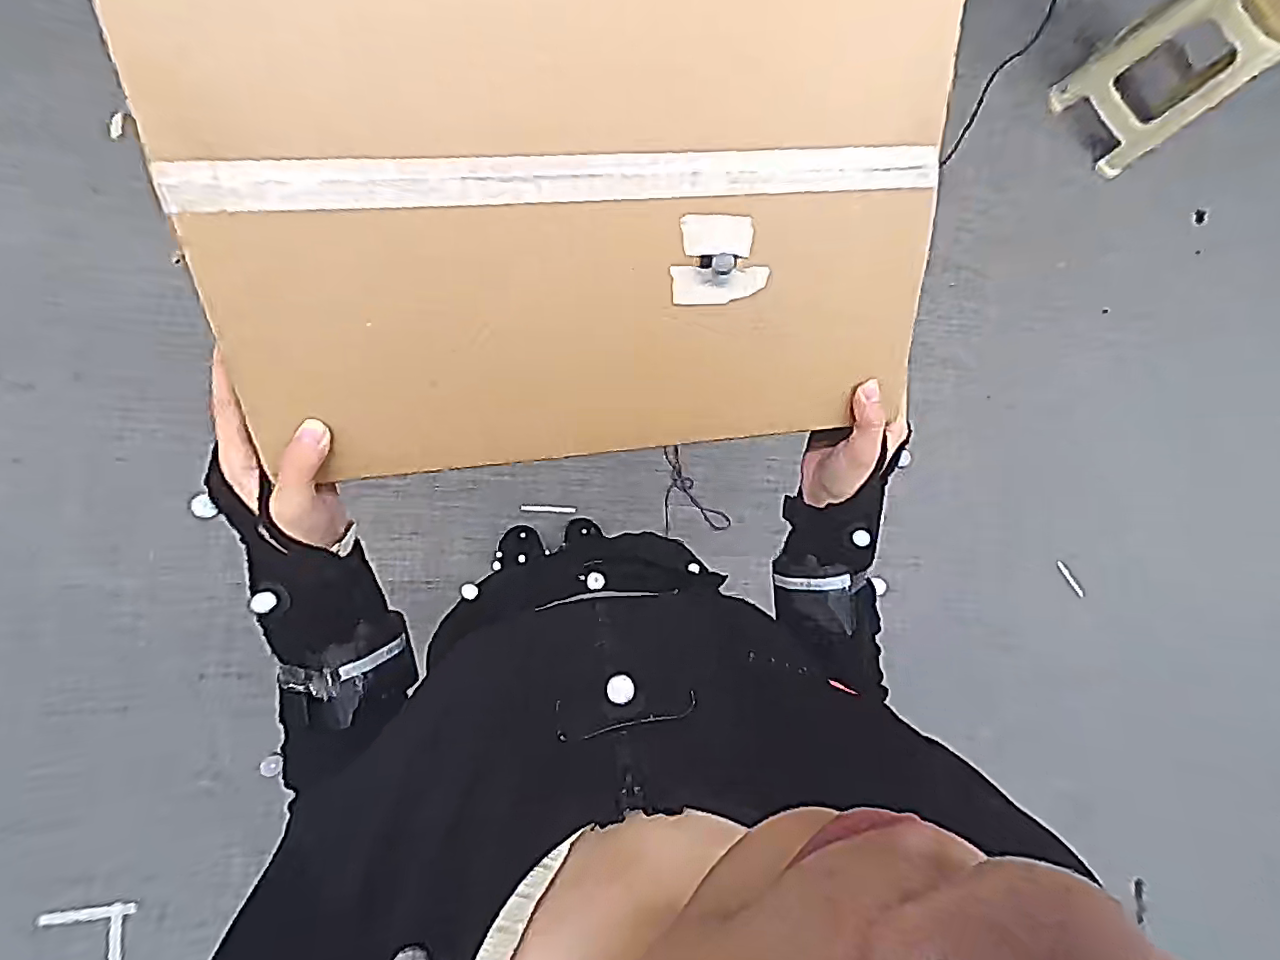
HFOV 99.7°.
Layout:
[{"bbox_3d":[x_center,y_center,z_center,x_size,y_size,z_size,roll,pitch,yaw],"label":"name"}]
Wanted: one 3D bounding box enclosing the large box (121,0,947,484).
[{"bbox_3d":[-0.056,-0.220,0.426,0.408,0.320,0.320,-8,115,-10],"label":"large box"}]
